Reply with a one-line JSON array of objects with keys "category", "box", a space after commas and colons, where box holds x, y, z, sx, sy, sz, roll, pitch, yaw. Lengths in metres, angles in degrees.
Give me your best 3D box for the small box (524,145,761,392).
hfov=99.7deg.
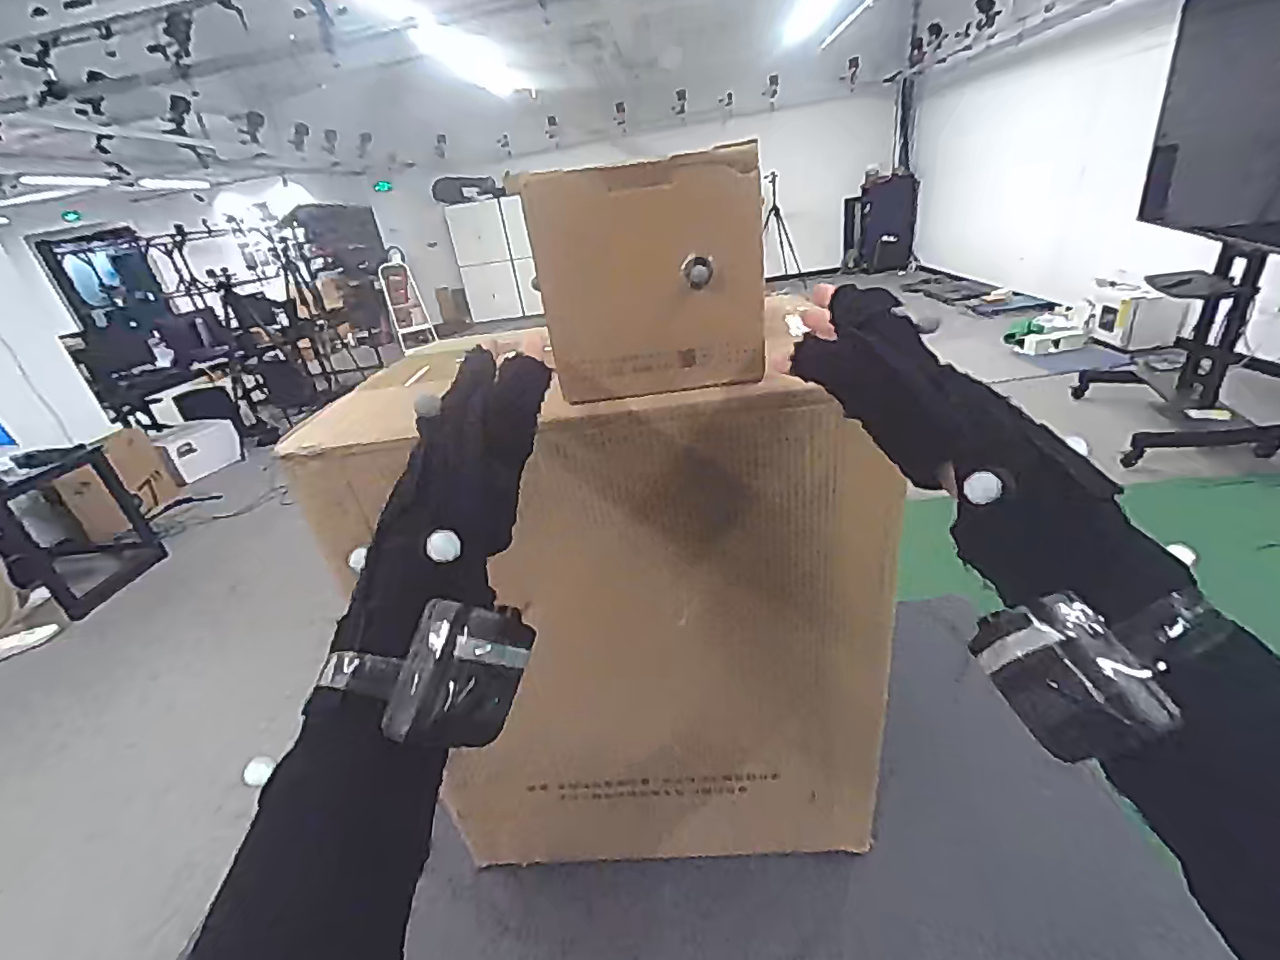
[{"category": "small box", "box": [0.013, -0.180, 0.473, 0.168, 0.176, 0.179, -4, 28, 5]}]
